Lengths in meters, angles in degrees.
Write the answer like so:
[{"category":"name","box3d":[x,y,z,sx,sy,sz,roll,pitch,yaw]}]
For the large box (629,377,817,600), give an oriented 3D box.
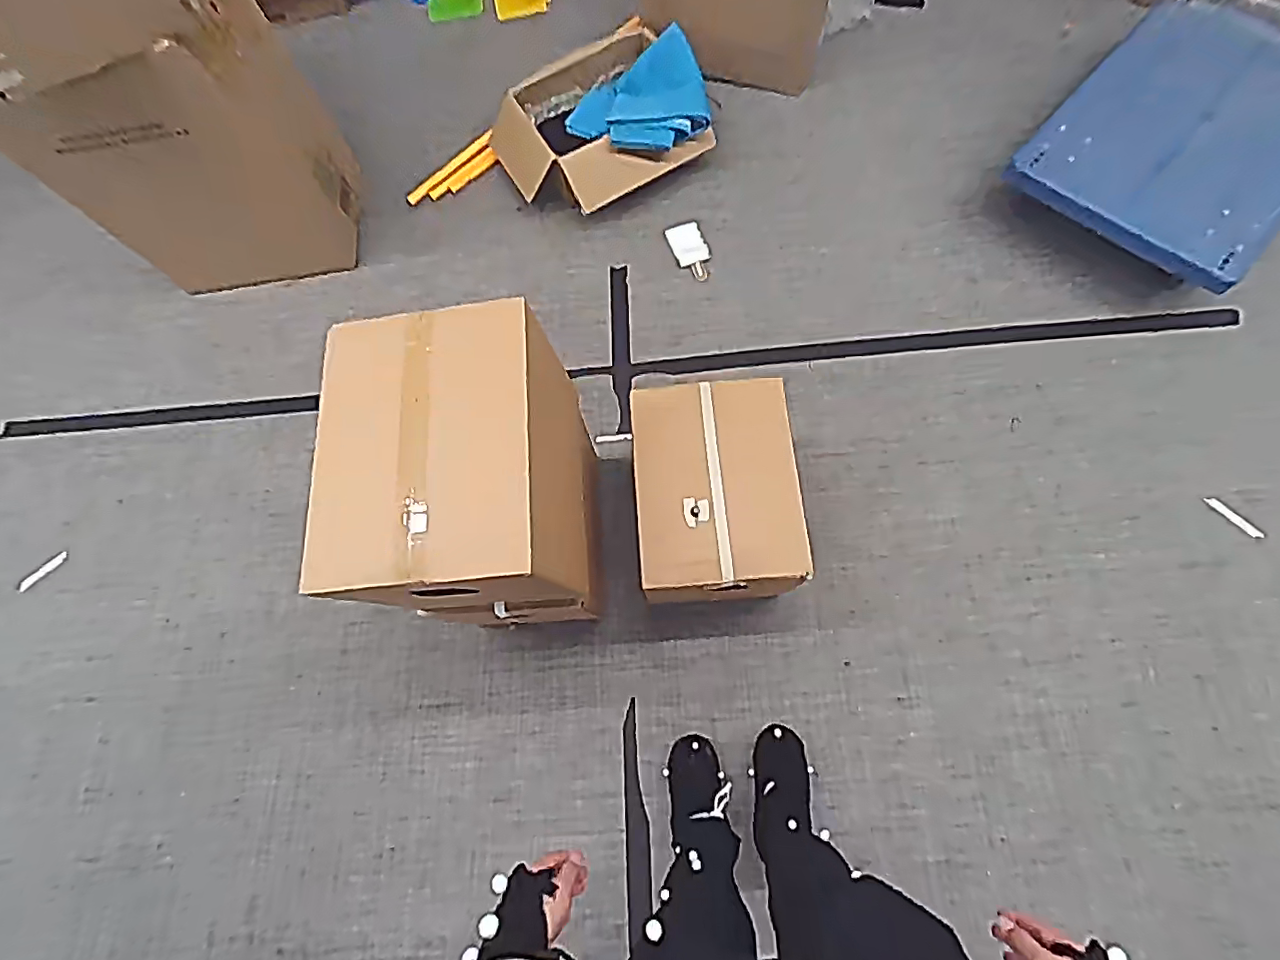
[{"category":"large box","box3d":[0.156,0.036,1.176,0.320,0.320,0.408,-6,72,2]}]
